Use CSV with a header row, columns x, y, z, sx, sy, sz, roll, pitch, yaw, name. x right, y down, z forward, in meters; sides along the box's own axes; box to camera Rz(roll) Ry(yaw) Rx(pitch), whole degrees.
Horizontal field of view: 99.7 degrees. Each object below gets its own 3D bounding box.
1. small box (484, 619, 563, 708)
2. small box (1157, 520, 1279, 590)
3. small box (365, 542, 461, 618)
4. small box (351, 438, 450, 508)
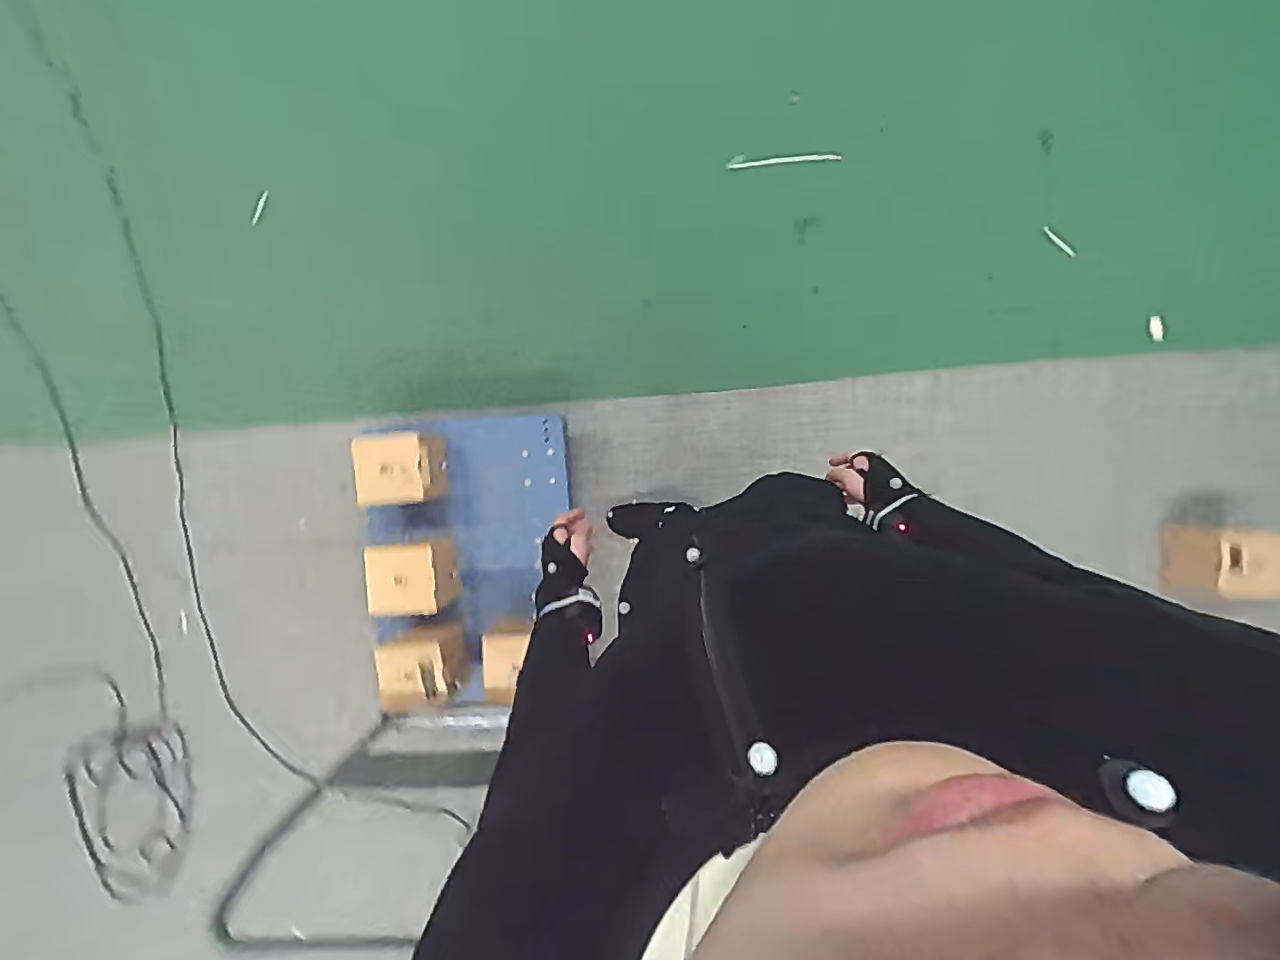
x,y,z,sx,sy,sz,roll,pitch,yaw,name
-0.298,0.475,1.417,0.168,0.176,0.179,-2,91,3,small box
1.592,0.202,1.496,0.179,0.176,0.168,0,93,2,small box
-0.594,0.258,1.428,0.179,0.176,0.168,-4,92,2,small box
-0.620,-0.020,1.416,0.179,0.176,0.168,-5,93,3,small box
